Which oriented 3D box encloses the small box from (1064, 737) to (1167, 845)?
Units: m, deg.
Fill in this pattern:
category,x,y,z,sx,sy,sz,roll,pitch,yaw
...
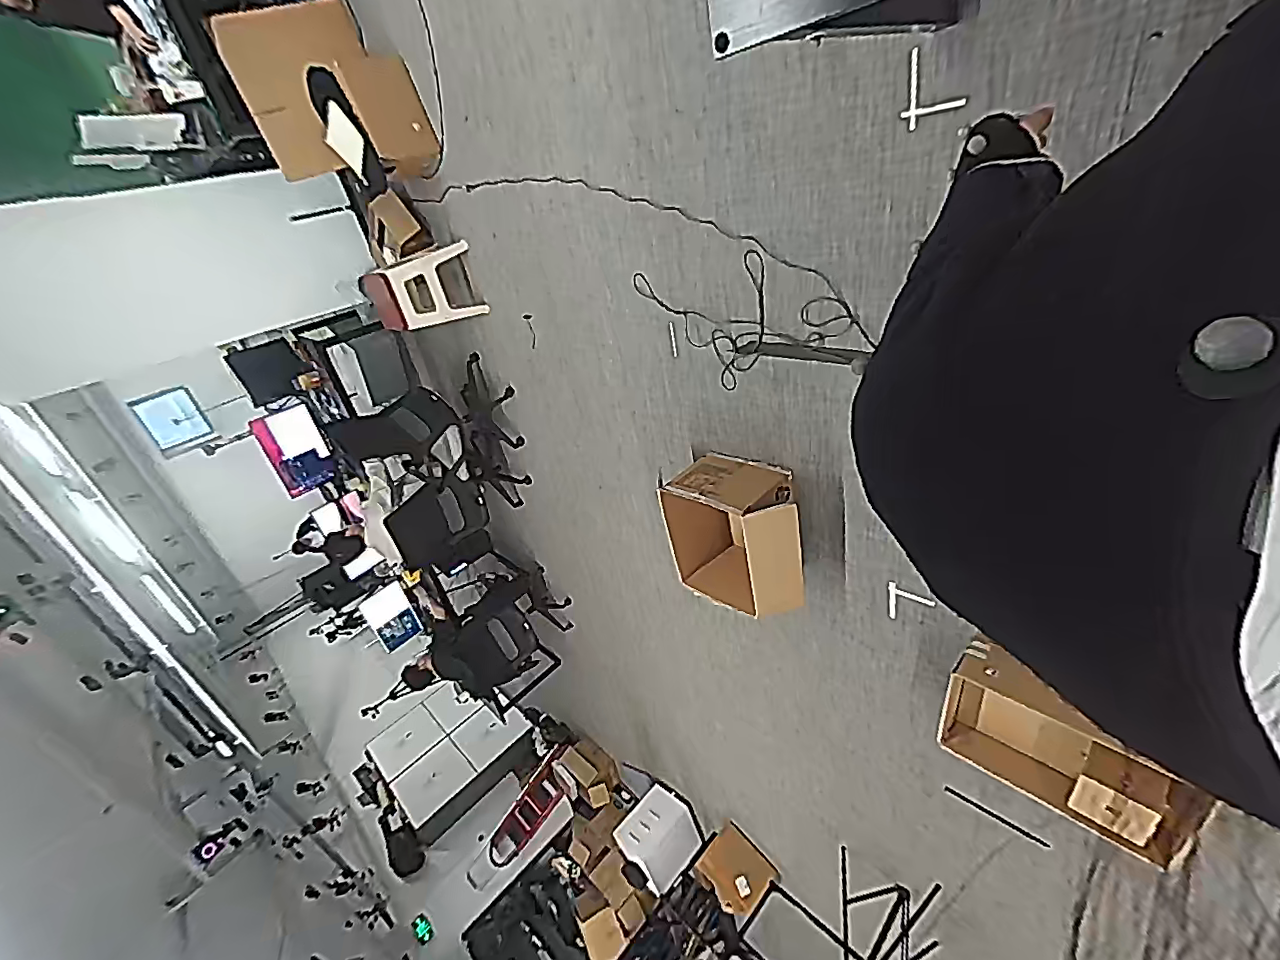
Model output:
category,x,y,z,sx,sy,sz,roll,pitch,yaw
small box,1.366,0.883,1.551,0.179,0.176,0.168,22,132,43
